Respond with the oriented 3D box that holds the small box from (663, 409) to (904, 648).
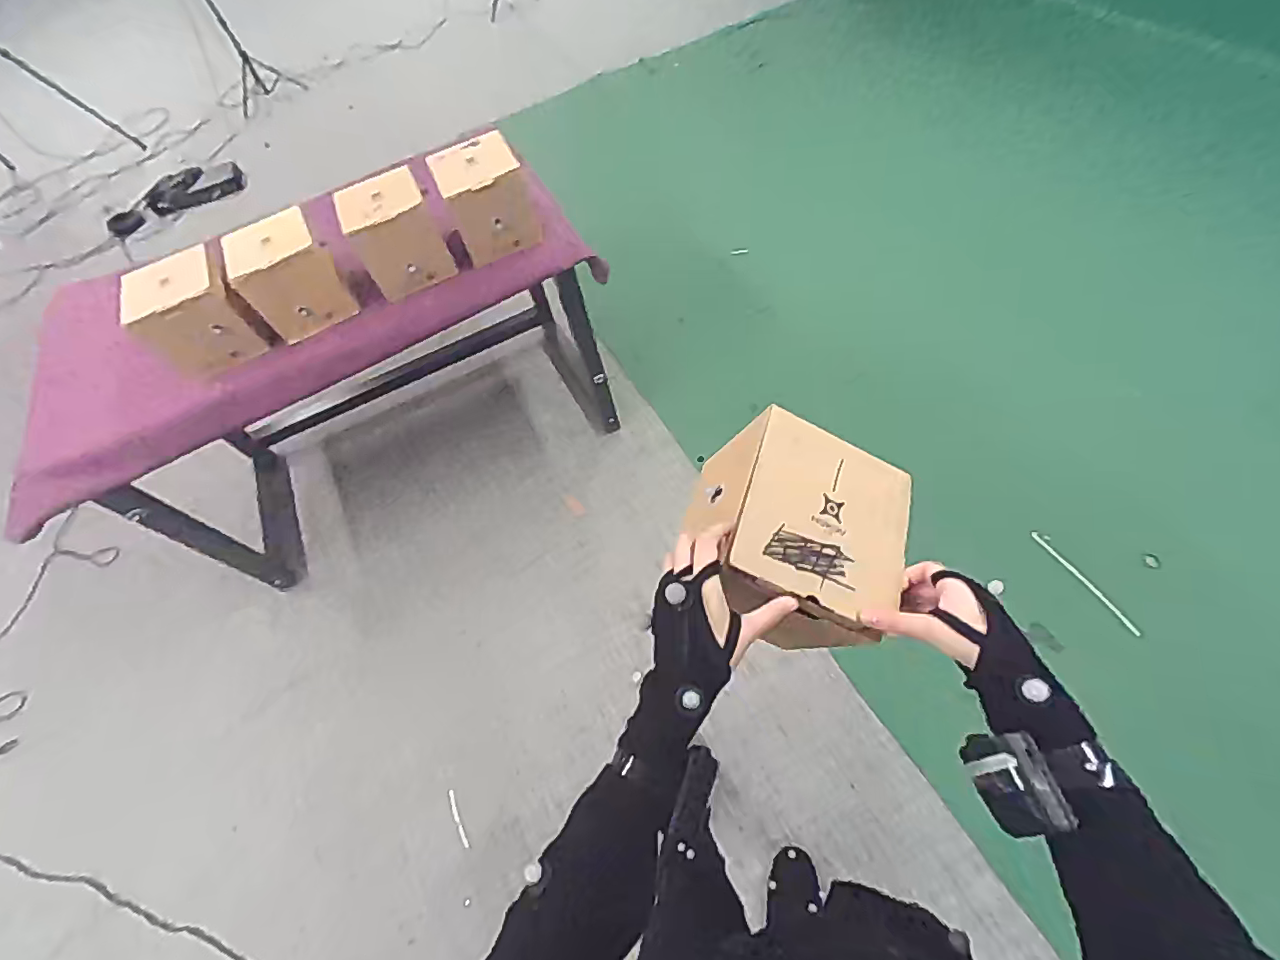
[{"bbox_3d":[0.138,0.064,0.565,0.168,0.176,0.179,26,65,-7],"label":"small box"}]
